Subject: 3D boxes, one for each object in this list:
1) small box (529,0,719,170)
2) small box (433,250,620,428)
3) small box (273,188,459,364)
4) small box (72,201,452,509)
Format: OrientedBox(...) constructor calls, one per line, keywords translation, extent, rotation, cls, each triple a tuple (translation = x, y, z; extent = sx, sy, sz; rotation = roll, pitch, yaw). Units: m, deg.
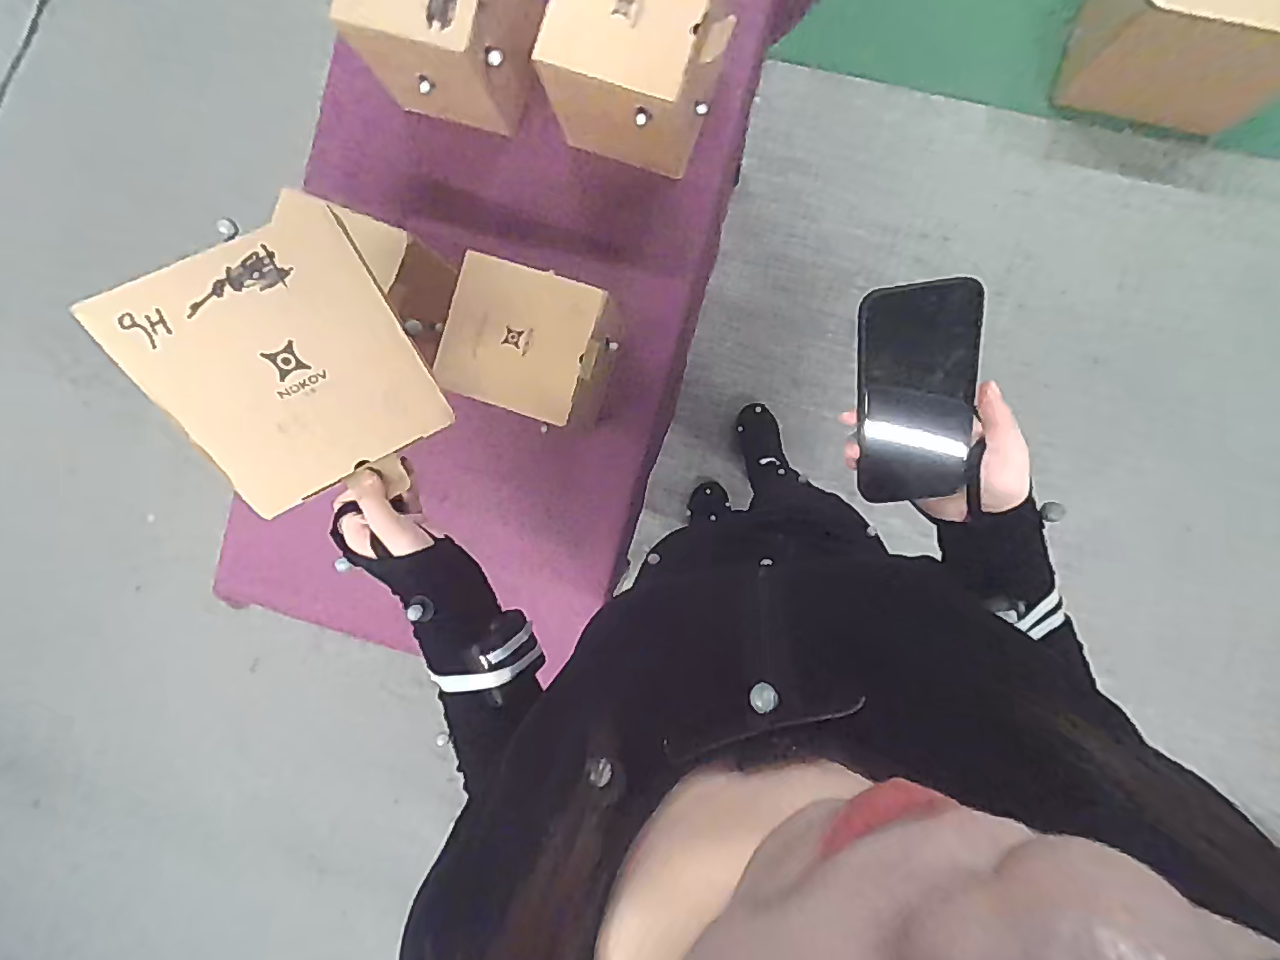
OrientedBox(translation=(-0.011, -0.526, 0.677), extent=(0.179, 0.176, 0.168), rotation=(20, 94, 4), cls="small box")
OrientedBox(translation=(-0.136, -0.169, 0.706), extent=(0.179, 0.176, 0.168), rotation=(18, 94, 6), cls="small box")
OrientedBox(translation=(-0.370, -0.248, 0.725), extent=(0.179, 0.176, 0.168), rotation=(22, 95, 4), cls="small box")
OrientedBox(translation=(-0.282, -0.112, 0.454), extent=(0.168, 0.176, 0.179), rotation=(-30, 122, -12), cls="small box")
